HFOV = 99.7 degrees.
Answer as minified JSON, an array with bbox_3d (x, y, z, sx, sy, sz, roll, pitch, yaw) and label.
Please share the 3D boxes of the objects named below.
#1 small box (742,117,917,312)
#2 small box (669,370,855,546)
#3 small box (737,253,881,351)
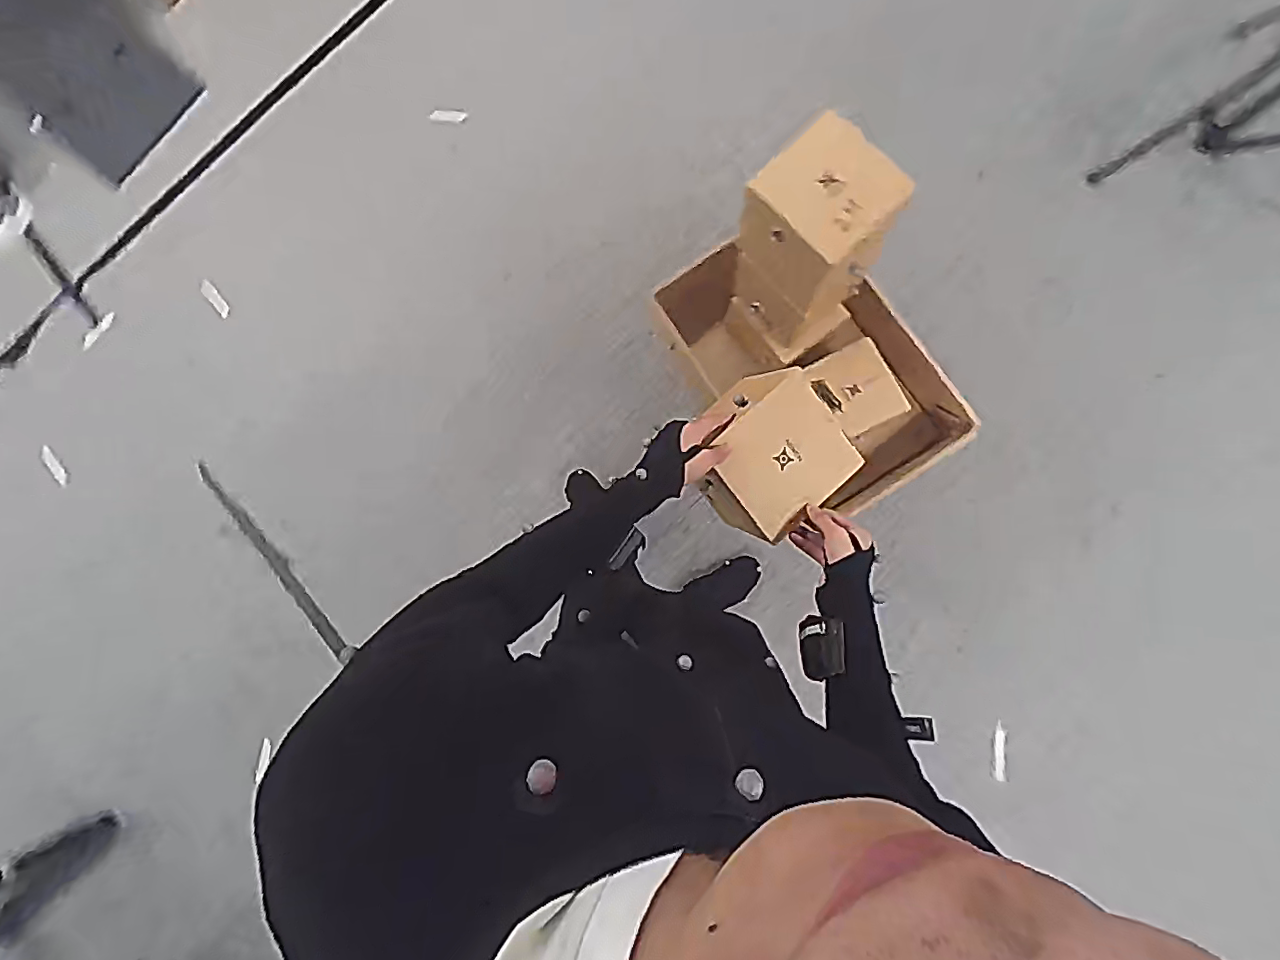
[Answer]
[{"bbox_3d":[0.277,-0.398,0.841,0.168,0.176,0.179,-41,83,0],"label":"small box"},{"bbox_3d":[0.160,-0.033,0.782,0.179,0.176,0.168,-42,103,-8],"label":"small box"},{"bbox_3d":[0.298,-0.374,1.002,0.179,0.176,0.168,-41,83,0],"label":"small box"}]
